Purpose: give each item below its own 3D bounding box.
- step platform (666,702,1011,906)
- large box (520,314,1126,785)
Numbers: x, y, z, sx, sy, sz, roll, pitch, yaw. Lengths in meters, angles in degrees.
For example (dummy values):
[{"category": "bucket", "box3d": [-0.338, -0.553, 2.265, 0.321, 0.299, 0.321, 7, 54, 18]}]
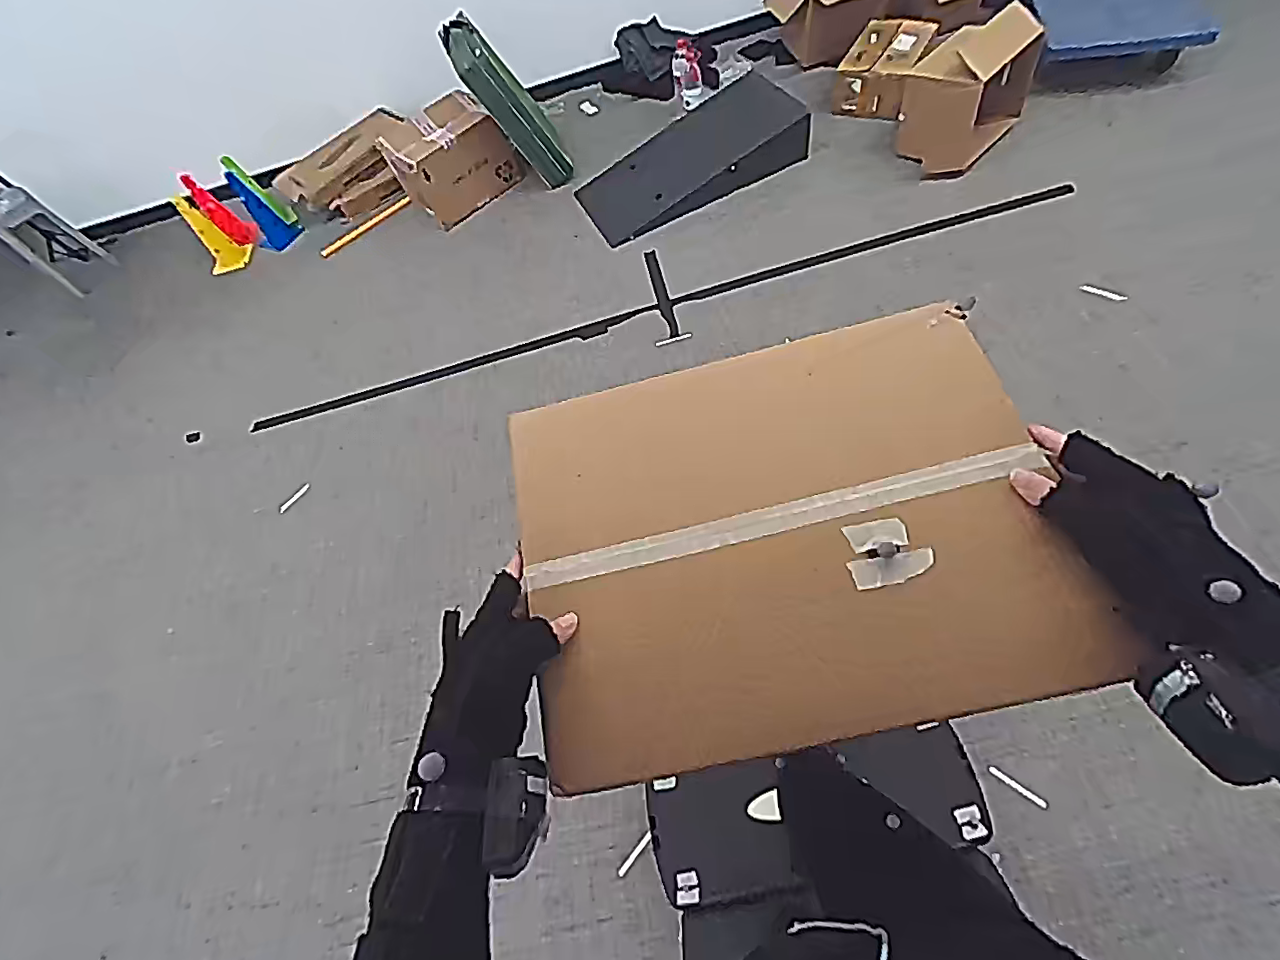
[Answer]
[{"category": "step platform", "box3d": [0.400, 0.685, 1.182, 0.684, 0.204, 0.286, -16, 59, 3]}, {"category": "large box", "box3d": [0.130, 0.093, 0.570, 0.408, 0.320, 0.320, -14, 66, 4]}]
